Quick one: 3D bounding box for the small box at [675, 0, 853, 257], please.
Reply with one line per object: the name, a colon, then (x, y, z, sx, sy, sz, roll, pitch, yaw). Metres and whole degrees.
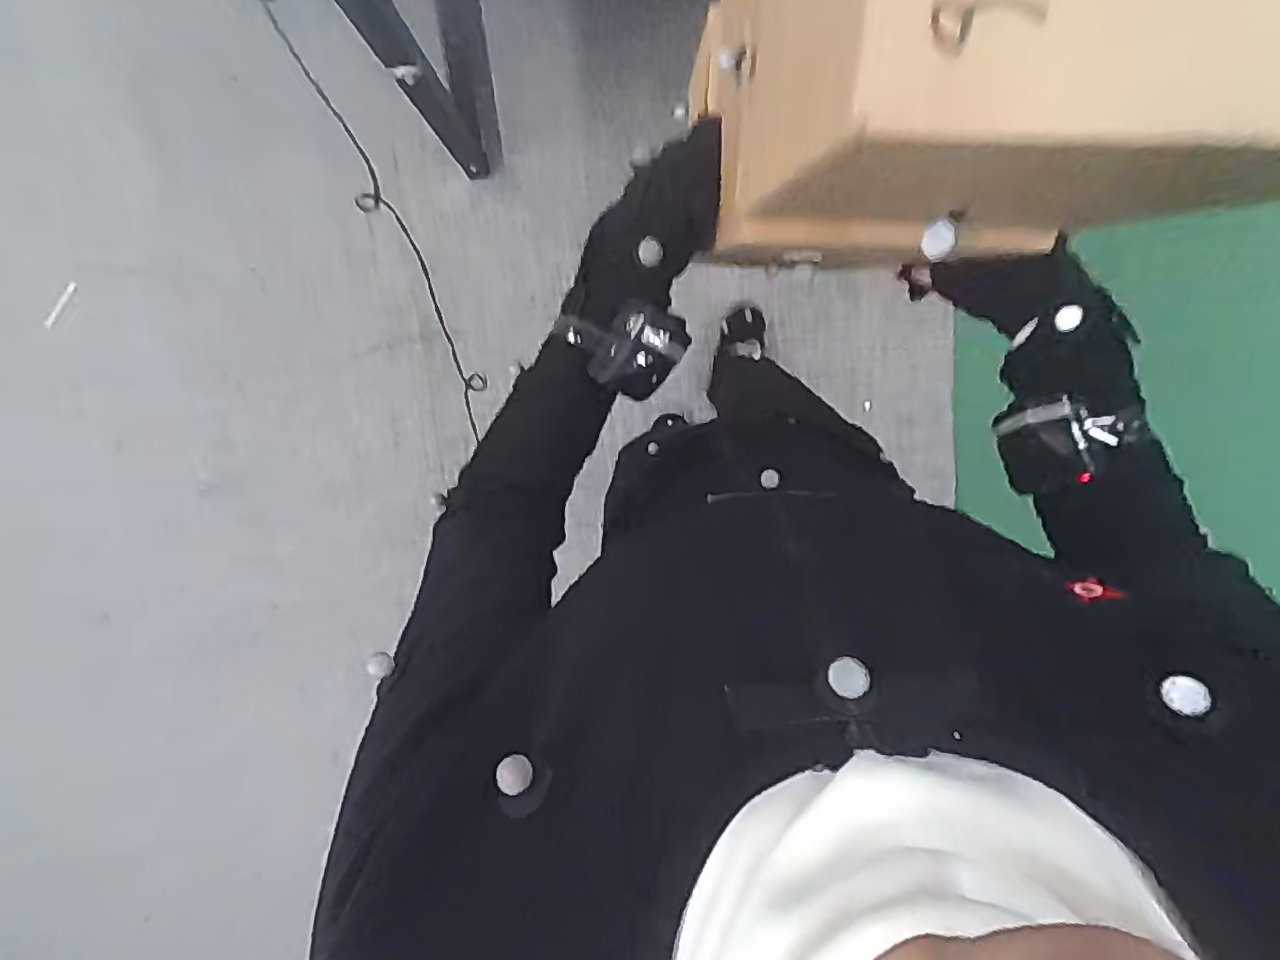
small box: (0.126, -0.294, 0.478, 0.179, 0.176, 0.168, 3, 111, -2)

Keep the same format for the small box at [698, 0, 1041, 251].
small box: (0.128, -0.240, 0.325, 0.168, 0.176, 0.179, 3, 111, 0)

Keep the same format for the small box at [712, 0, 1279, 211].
small box: (0.125, -0.187, 0.171, 0.179, 0.176, 0.168, 2, 110, 0)
